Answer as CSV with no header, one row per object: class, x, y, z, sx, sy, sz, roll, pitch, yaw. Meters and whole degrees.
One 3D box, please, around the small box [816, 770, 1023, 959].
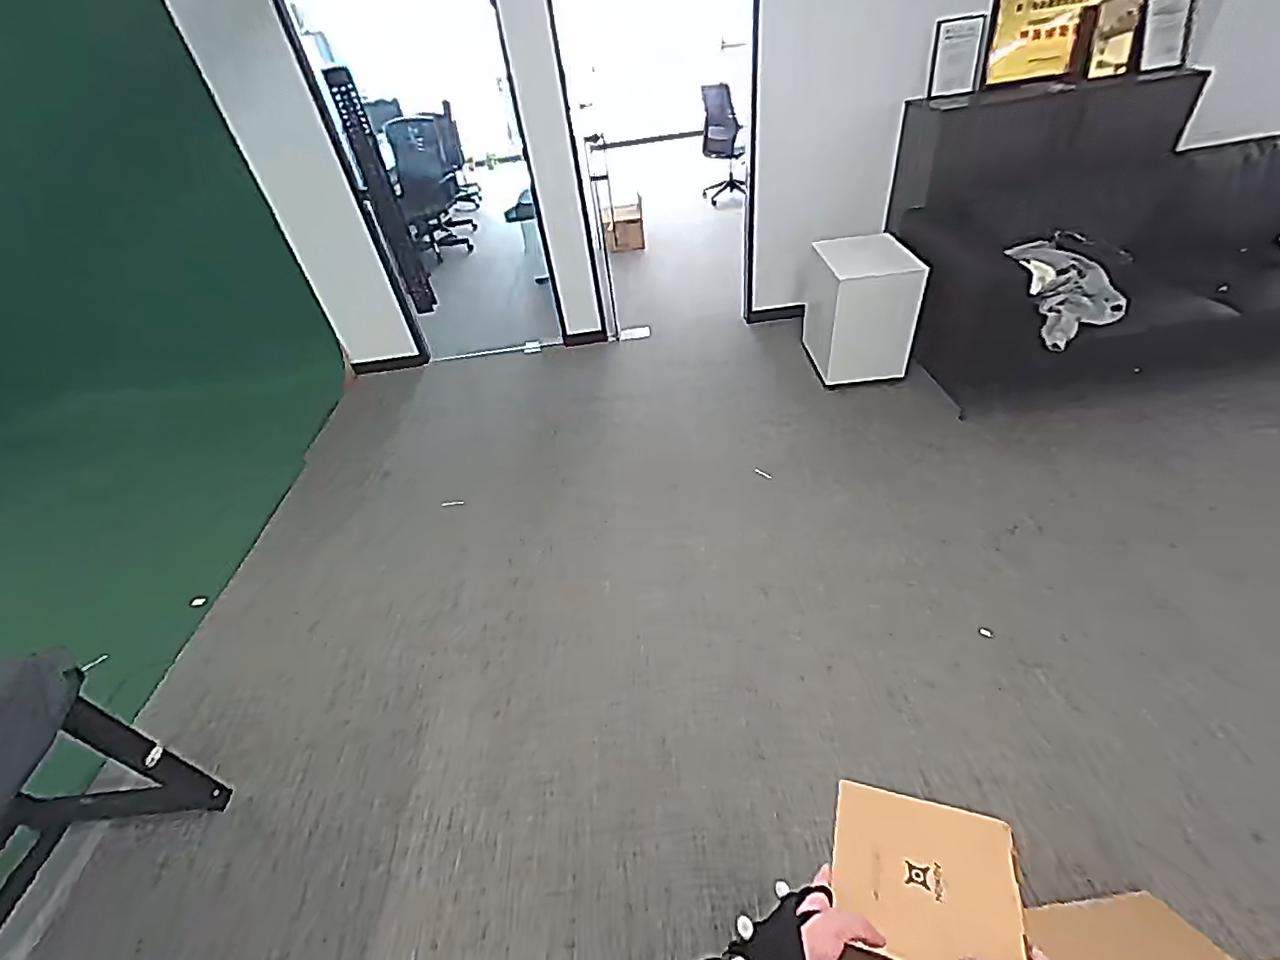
small box,0.296,0.465,0.593,0.179,0.176,0.168,4,31,26
